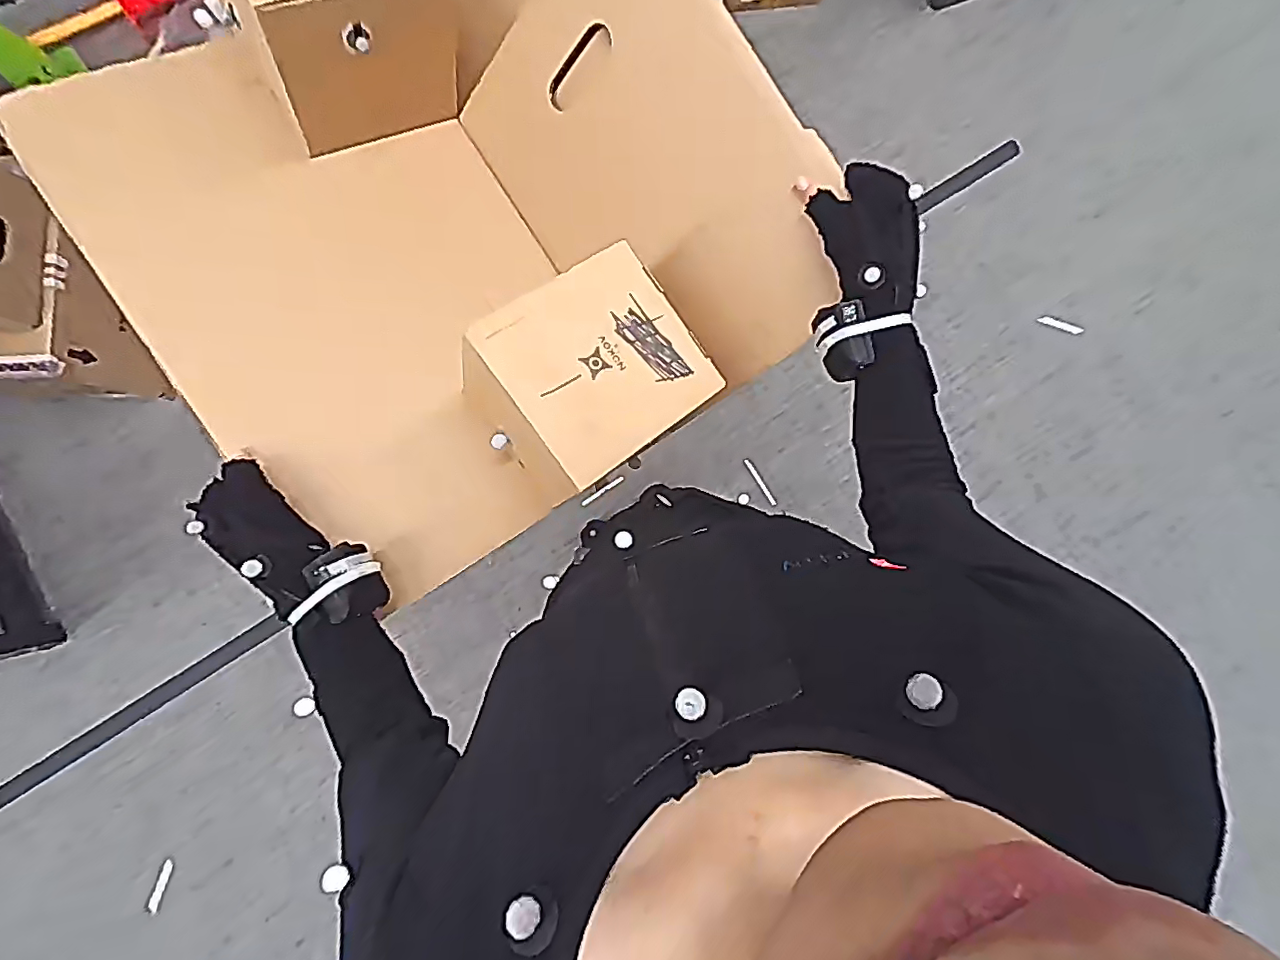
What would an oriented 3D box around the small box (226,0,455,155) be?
[{"bbox_3d":[-0.300,-0.464,0.535,0.179,0.176,0.168,-30,91,-20],"label":"small box"}]
